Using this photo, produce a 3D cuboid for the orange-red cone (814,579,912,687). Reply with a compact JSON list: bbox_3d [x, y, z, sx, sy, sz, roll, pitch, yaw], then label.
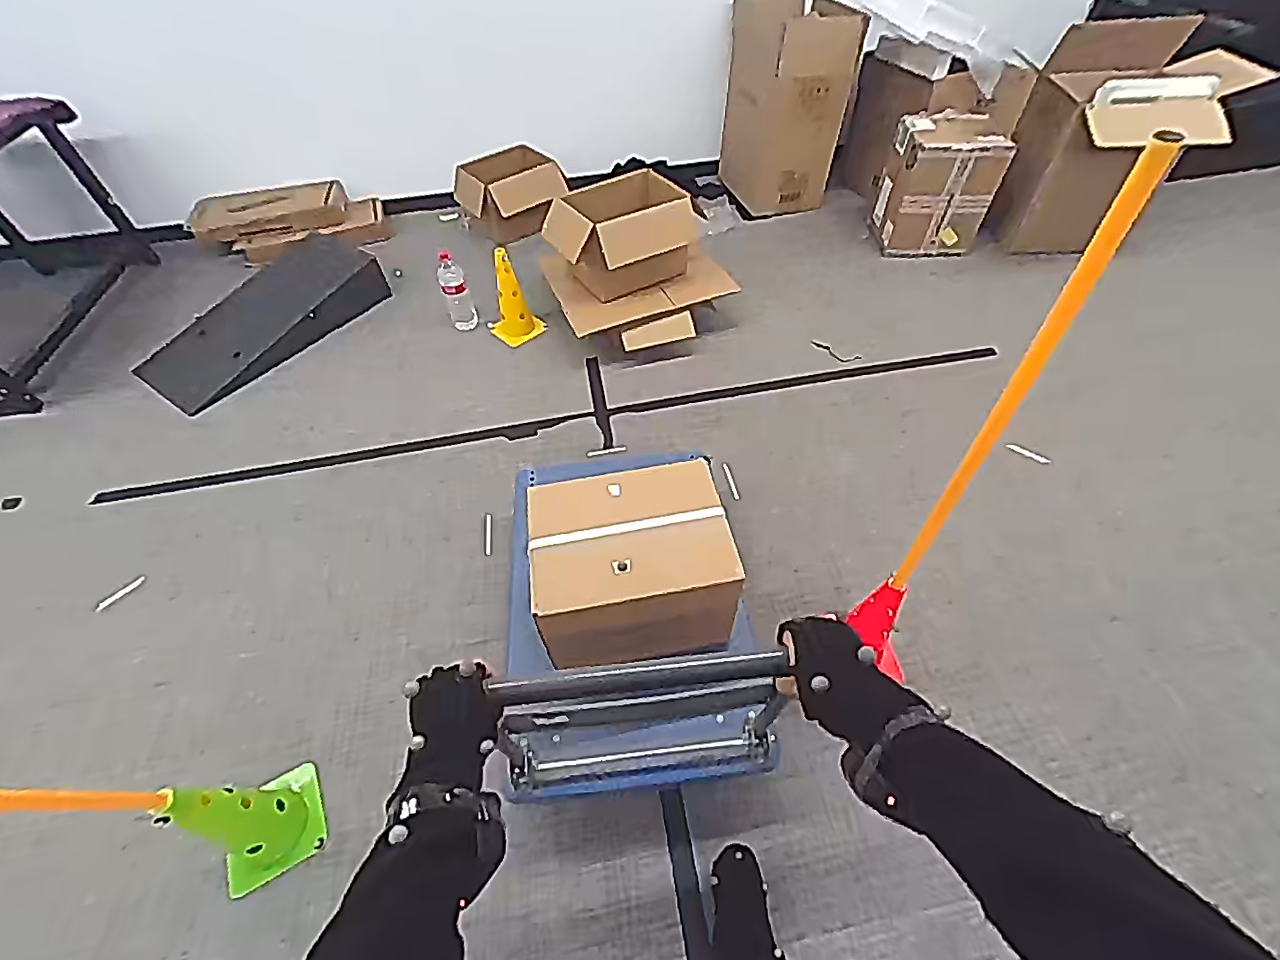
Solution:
[{"bbox_3d":[0.566,0.334,1.285,0.199,0.360,0.198,-4,52,-2],"label":"orange-red cone"}]
